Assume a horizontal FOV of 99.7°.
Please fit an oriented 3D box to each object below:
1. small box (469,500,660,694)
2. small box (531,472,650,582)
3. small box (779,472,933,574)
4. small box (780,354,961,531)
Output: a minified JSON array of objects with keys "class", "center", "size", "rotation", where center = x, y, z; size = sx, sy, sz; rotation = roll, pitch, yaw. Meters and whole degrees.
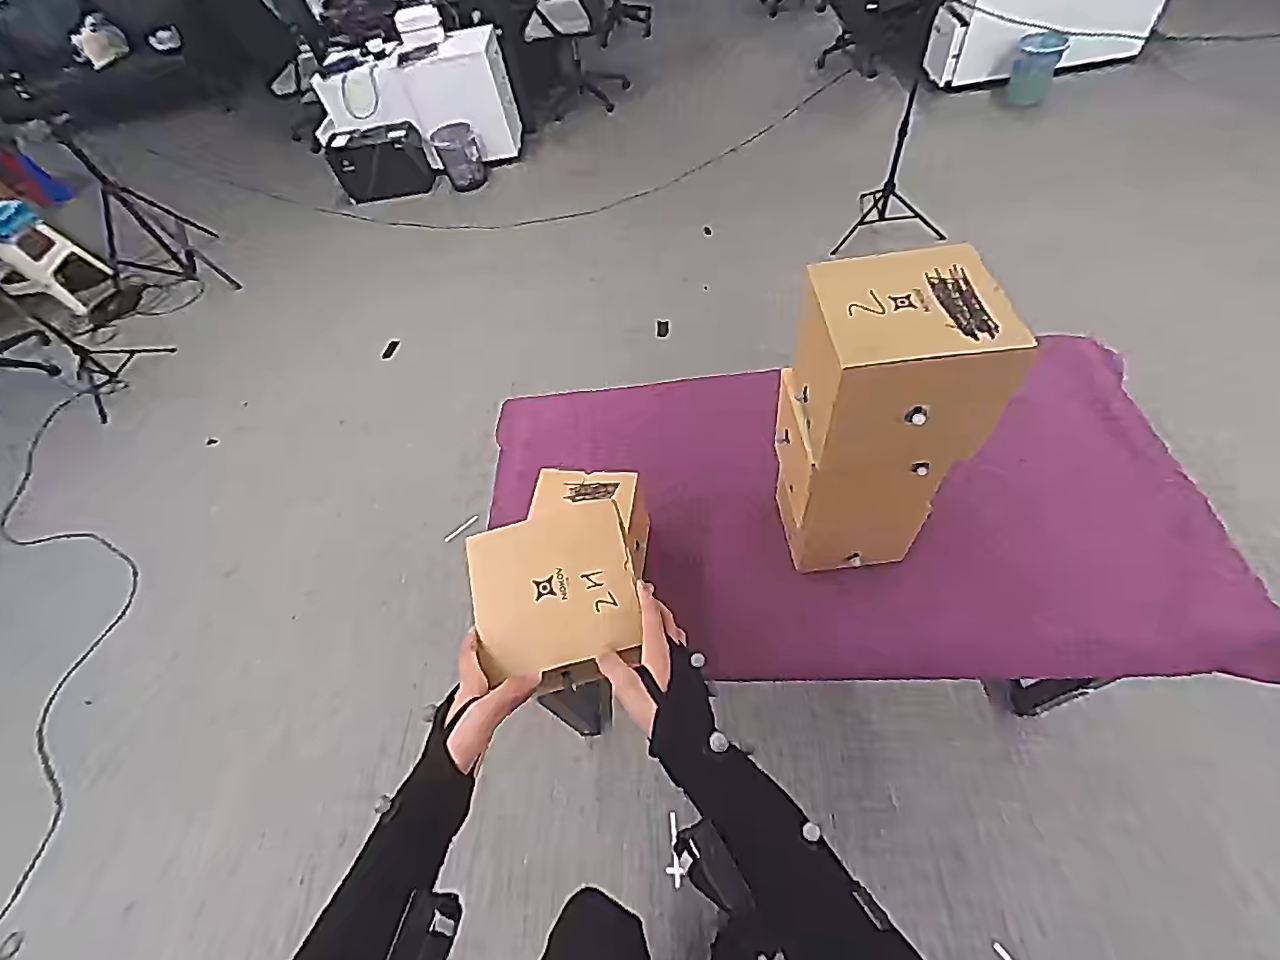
[{"class":"small box","center":[-0.082,0.148,0.641],"size":[0.179,0.176,0.168],"rotation":[-15,65,-1]},{"class":"small box","center":[-0.079,0.106,0.896],"size":[0.168,0.176,0.179],"rotation":[2,57,11]},{"class":"small box","center":[0.333,0.037,0.876],"size":[0.179,0.176,0.168],"rotation":[-7,54,4]},{"class":"small box","center":[0.294,-0.044,0.739],"size":[0.179,0.176,0.168],"rotation":[-7,54,4]}]
